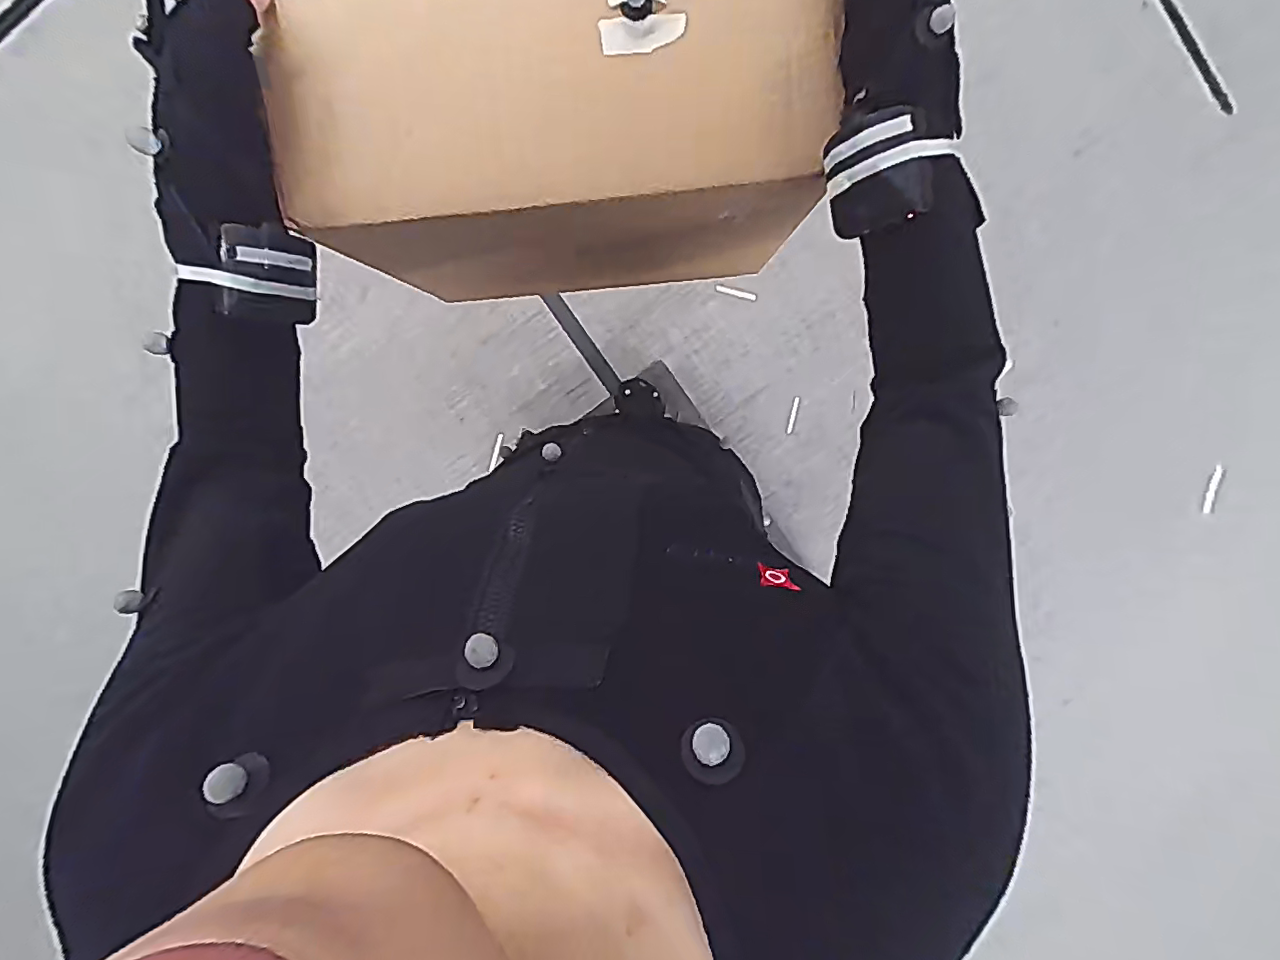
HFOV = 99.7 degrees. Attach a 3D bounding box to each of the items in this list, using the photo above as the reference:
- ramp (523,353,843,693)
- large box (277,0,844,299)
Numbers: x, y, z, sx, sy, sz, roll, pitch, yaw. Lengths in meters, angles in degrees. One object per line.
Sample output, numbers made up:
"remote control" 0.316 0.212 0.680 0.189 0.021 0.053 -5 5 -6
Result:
"ramp" 0.164 0.173 1.590 0.509 0.206 0.991 -39 96 4
"large box" -0.061 -0.380 0.526 0.408 0.320 0.320 -5 99 2
